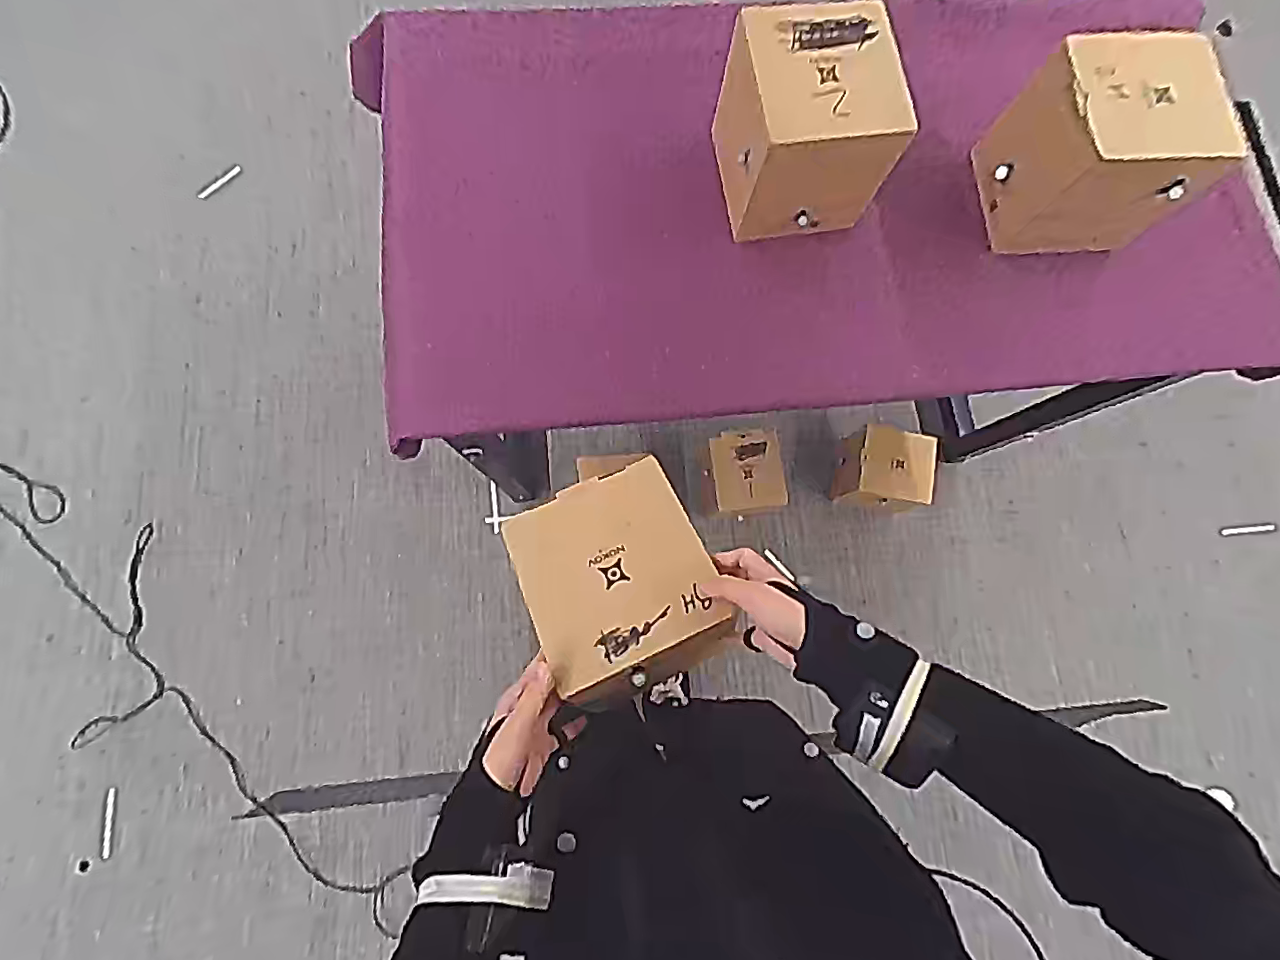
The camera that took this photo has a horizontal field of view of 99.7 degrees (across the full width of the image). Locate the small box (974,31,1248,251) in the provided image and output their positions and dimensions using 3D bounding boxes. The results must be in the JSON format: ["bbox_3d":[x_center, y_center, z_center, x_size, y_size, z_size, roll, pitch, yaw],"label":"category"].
[{"bbox_3d":[0.562,-0.406,0.672,0.179,0.176,0.168,-3,78,-3],"label":"small box"}]

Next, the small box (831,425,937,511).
[{"bbox_3d":[0.601,-0.022,1.343,0.179,0.176,0.168,11,79,1],"label":"small box"}]

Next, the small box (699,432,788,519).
[{"bbox_3d":[0.245,-0.006,1.322,0.168,0.176,0.179,-6,80,-3],"label":"small box"}]

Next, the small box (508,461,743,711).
[{"bbox_3d":[-0.013,0.116,0.556,0.168,0.176,0.179,-24,63,-6],"label":"small box"}]
